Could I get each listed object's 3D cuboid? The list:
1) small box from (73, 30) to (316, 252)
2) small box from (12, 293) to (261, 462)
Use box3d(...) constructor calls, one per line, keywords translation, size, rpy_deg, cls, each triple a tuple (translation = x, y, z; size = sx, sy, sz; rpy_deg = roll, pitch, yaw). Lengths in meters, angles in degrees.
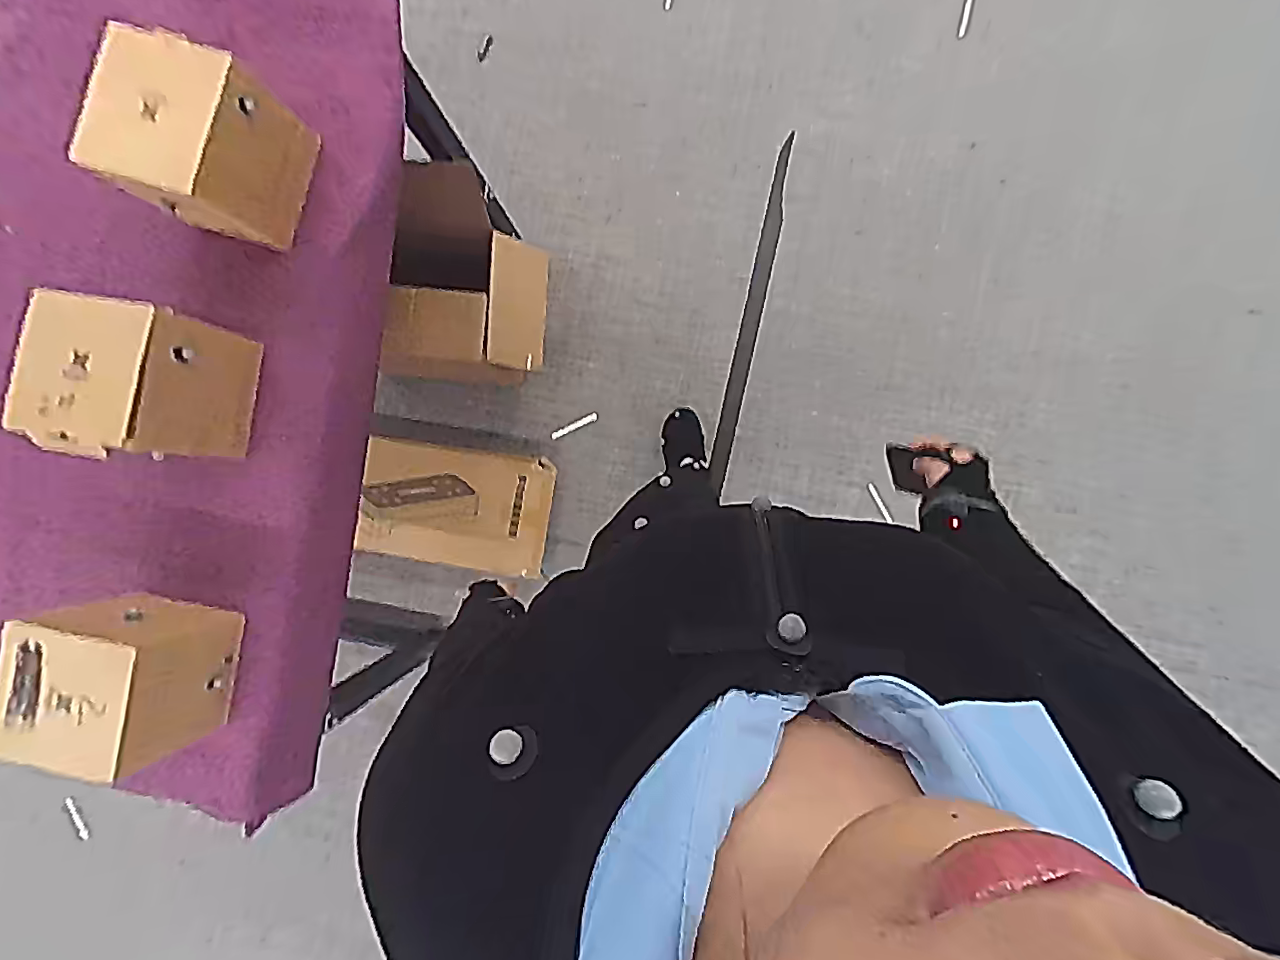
box3d(translation=(-0.574, -0.434, 0.722), size=(0.168, 0.176, 0.179), rpy_deg=(17, 90, 4), cls="small box")
box3d(translation=(-0.650, -0.125, 0.721), size=(0.168, 0.176, 0.179), rpy_deg=(9, 90, 6), cls="small box")
